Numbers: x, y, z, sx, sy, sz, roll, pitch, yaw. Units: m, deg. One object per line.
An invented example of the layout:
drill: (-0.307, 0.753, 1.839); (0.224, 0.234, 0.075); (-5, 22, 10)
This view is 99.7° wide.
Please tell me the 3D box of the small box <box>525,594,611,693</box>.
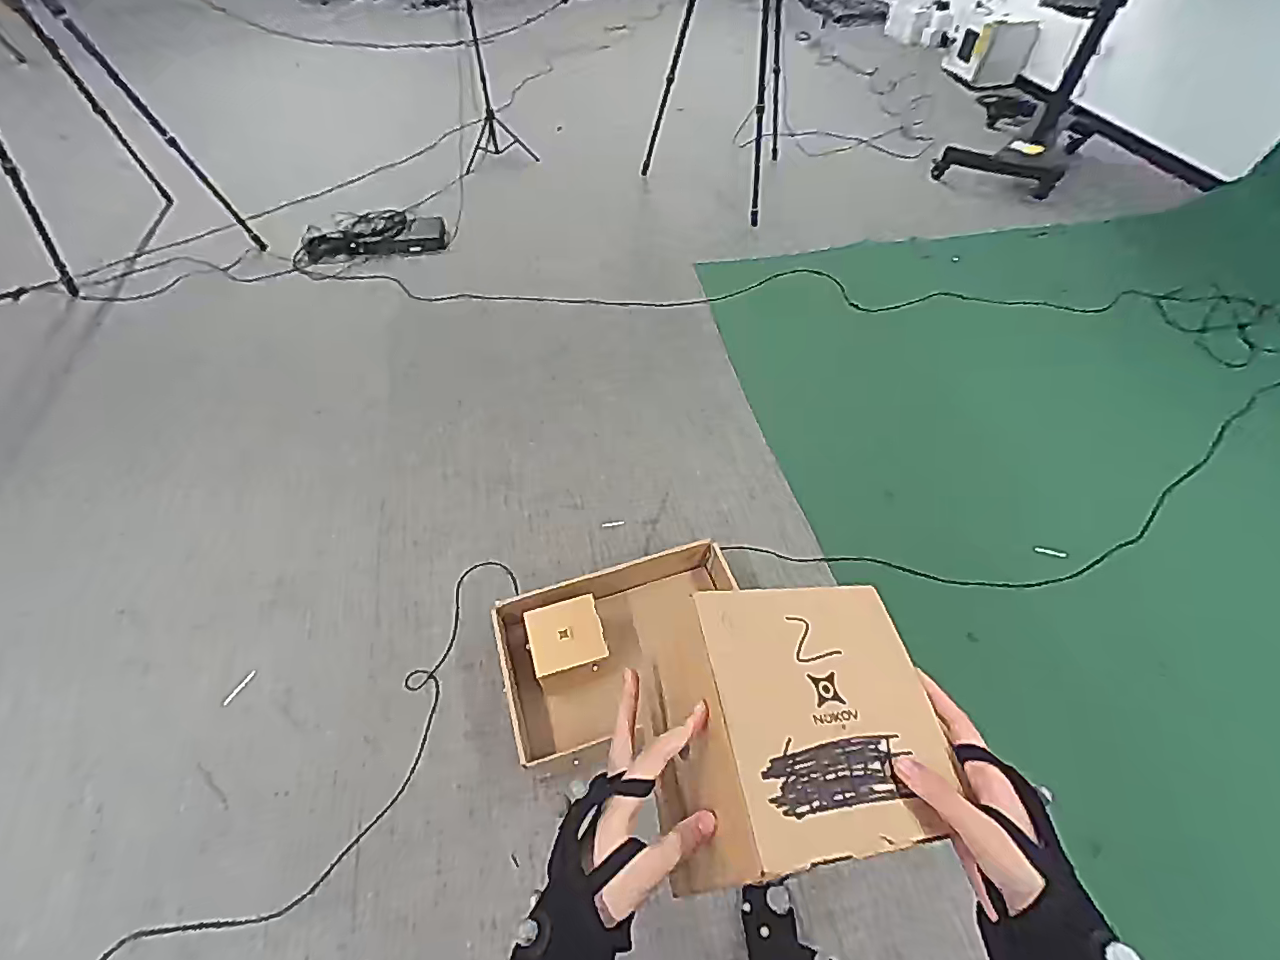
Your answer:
small box: (-0.178, 0.415, 1.358); (0.179, 0.176, 0.168); (-14, 56, -12)
